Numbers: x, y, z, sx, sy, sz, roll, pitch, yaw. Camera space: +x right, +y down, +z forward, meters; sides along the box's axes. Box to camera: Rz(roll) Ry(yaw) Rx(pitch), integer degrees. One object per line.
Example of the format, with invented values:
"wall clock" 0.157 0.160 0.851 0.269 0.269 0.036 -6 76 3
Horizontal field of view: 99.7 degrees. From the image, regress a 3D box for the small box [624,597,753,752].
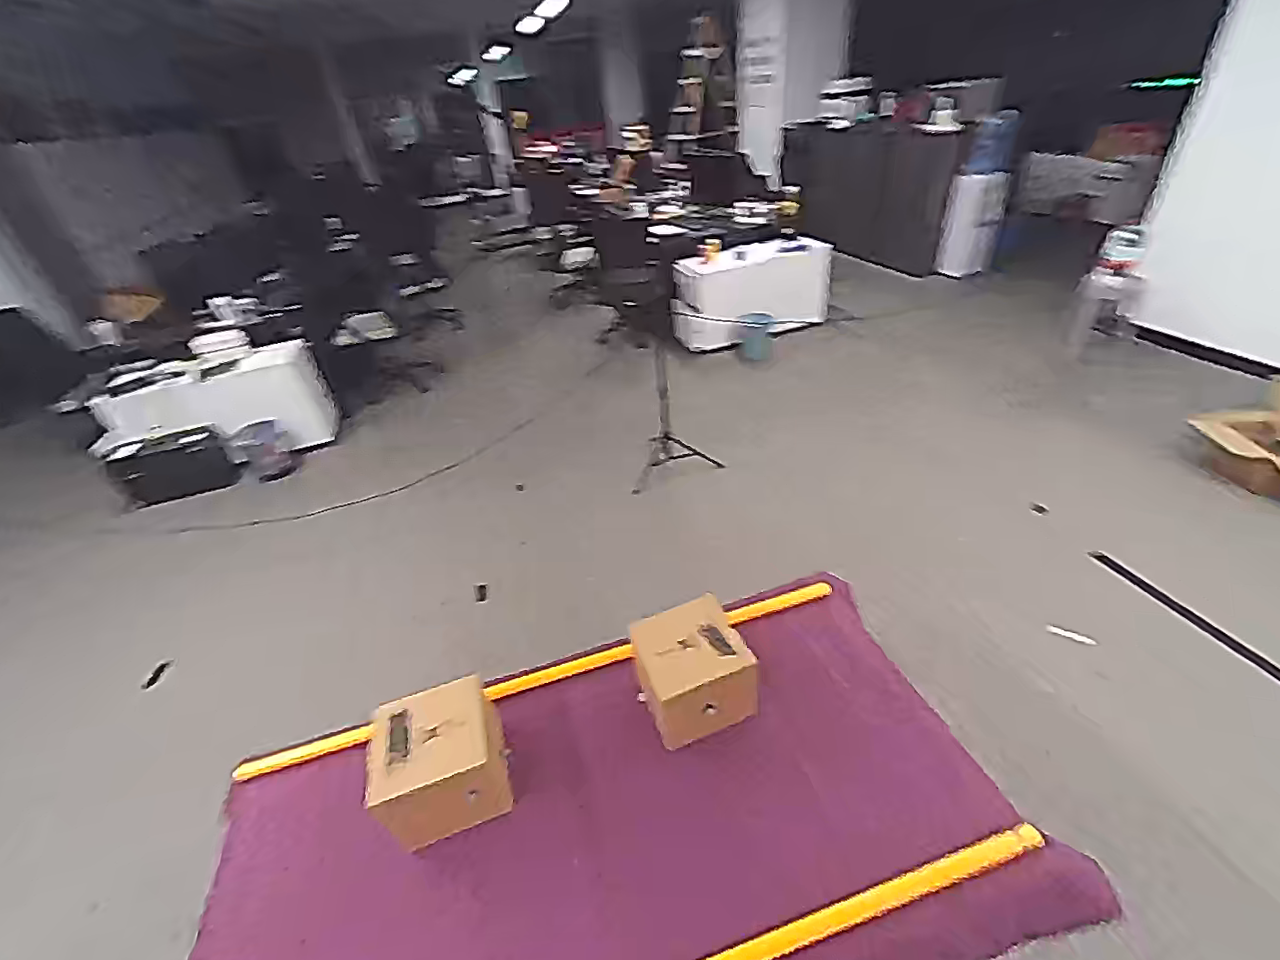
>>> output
"small box" 0.086 0.350 0.975 0.179 0.176 0.168 -19 38 -12
